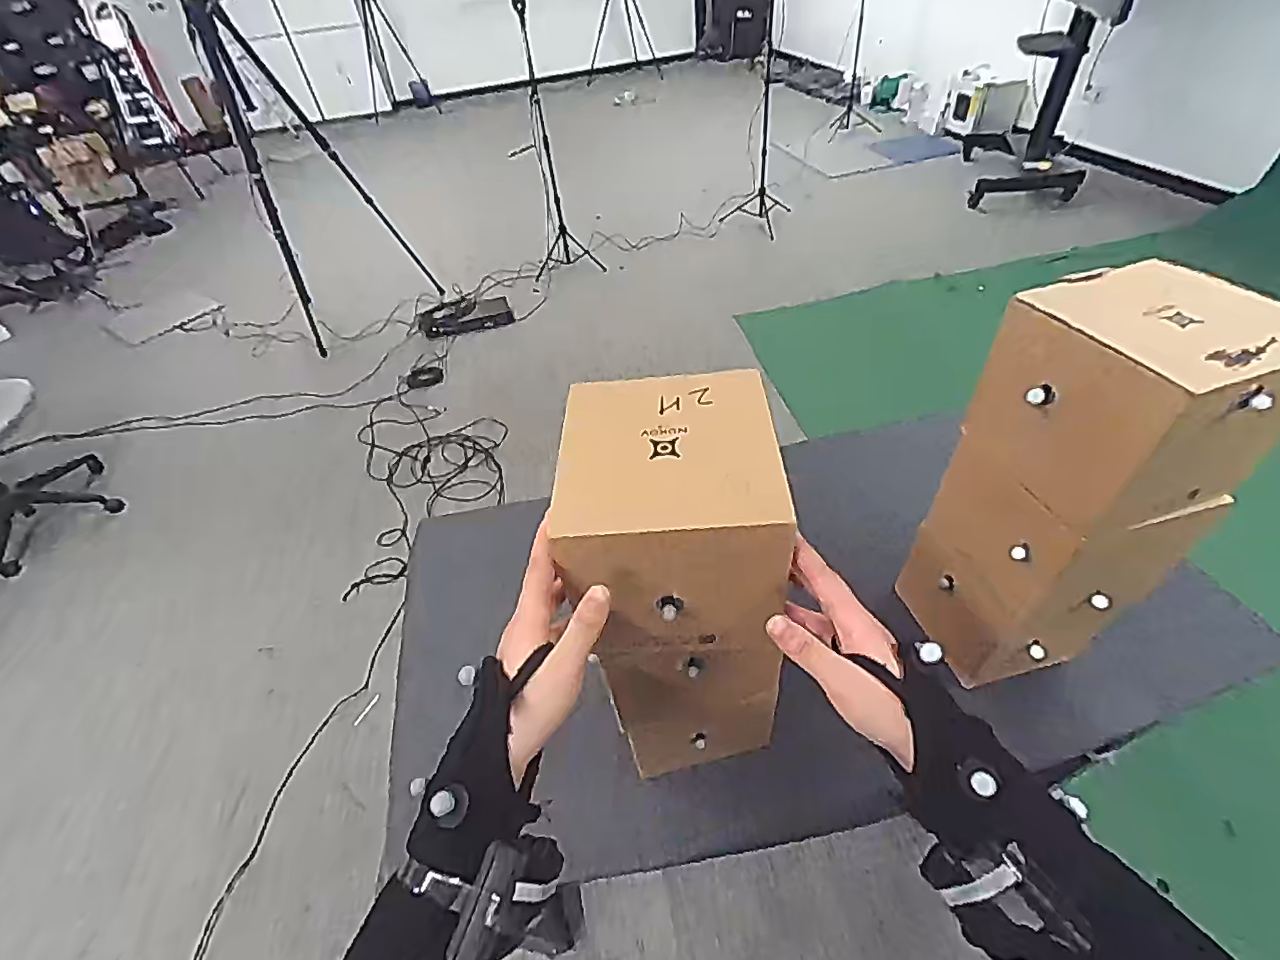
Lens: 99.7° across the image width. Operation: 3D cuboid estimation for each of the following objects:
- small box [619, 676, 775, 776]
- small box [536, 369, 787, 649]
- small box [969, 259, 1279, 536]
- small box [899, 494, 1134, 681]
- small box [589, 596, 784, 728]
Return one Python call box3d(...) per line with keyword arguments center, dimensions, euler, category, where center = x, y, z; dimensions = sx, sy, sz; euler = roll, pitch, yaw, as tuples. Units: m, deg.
box3d(center=(0.056, 0.253, 0.696), dimensions=(0.179, 0.176, 0.168), euler=(-13, 45, -4), category="small box")
box3d(center=(0.023, 0.031, 0.456), dimensions=(0.168, 0.176, 0.179), euler=(-3, 46, 5), category="small box")
box3d(center=(0.452, -0.079, 0.504), dimensions=(0.168, 0.176, 0.179), euler=(-16, 44, -7), category="small box")
box3d(center=(0.488, 0.152, 0.736), dimensions=(0.168, 0.176, 0.179), euler=(-13, 44, -5), category="small box")
box3d(center=(0.037, 0.142, 0.579), dimensions=(0.179, 0.176, 0.168), euler=(-12, 46, -5), category="small box")
